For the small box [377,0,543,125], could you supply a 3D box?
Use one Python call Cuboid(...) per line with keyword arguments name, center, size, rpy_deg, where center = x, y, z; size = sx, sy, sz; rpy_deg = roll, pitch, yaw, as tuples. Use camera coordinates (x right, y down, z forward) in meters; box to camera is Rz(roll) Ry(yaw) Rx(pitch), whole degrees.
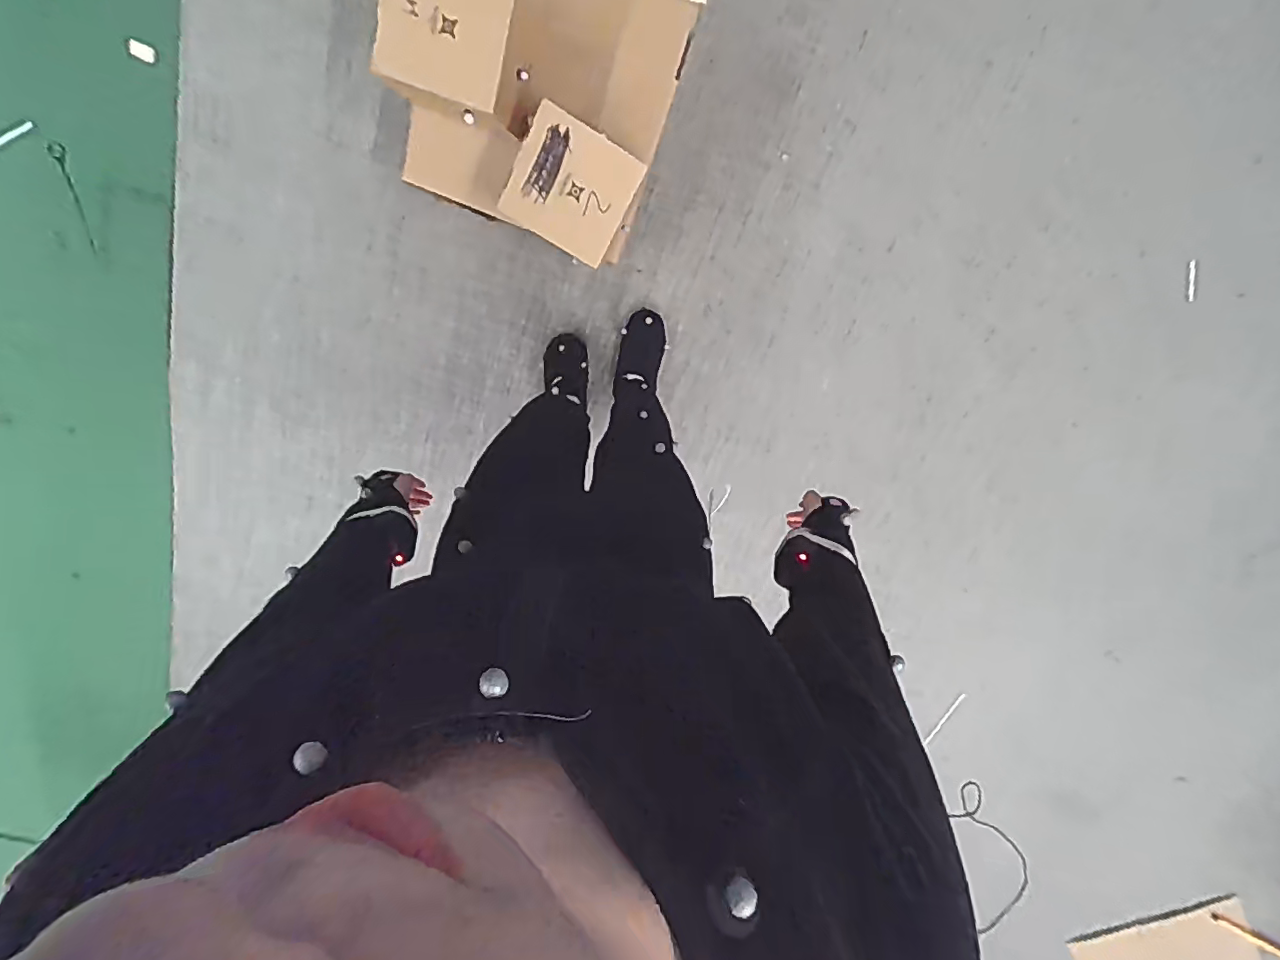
Cuboid(name="small box", center=(-0.254, -0.655, 0.799), size=(0.179, 0.176, 0.168), rpy_deg=(18, 111, -6))
